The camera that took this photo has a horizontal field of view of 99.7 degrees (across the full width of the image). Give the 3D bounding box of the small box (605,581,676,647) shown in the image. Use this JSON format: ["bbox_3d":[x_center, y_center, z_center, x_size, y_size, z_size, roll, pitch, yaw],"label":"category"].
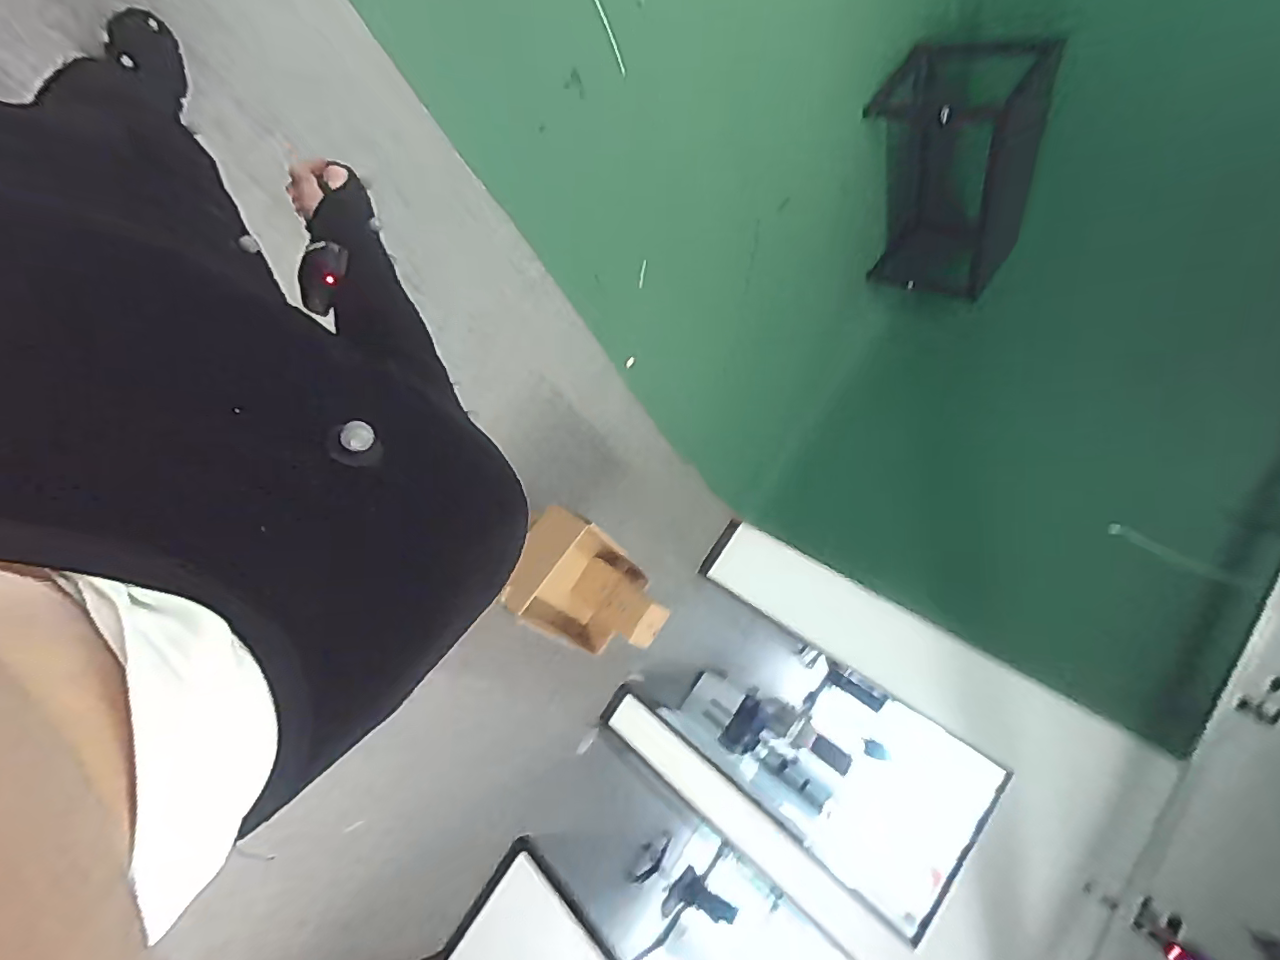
[{"bbox_3d":[0.000,0.502,2.039,0.168,0.176,0.179,-56,144,-5],"label":"small box"}]
